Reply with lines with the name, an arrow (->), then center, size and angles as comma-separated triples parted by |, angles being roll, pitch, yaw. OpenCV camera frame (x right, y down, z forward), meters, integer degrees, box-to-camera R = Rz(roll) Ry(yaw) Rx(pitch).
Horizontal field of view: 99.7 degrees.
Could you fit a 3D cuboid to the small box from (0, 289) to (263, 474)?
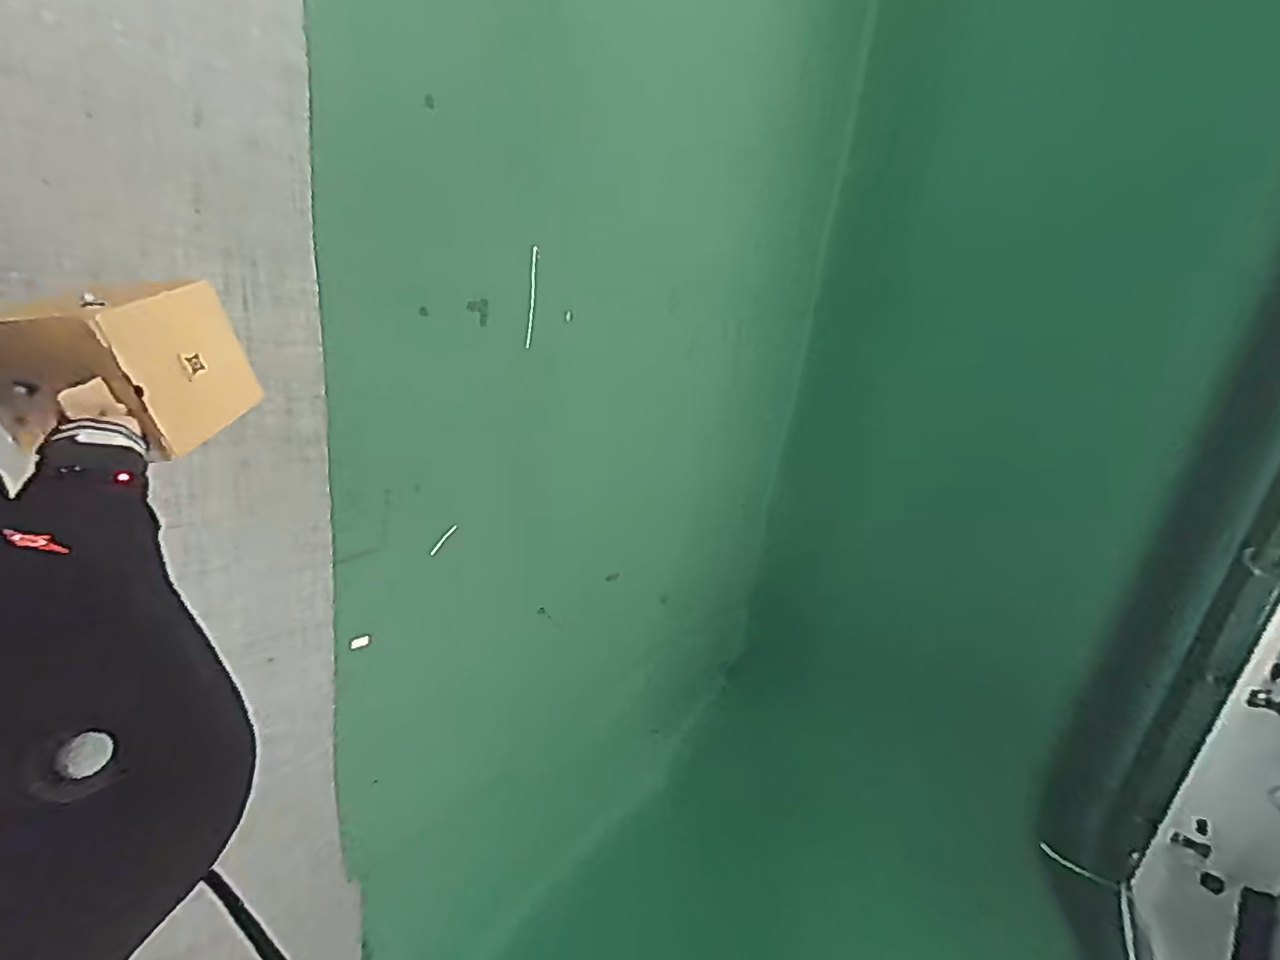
small box -> -0.607, -0.121, 0.639 | 0.179, 0.176, 0.168 | -92, 177, -58
